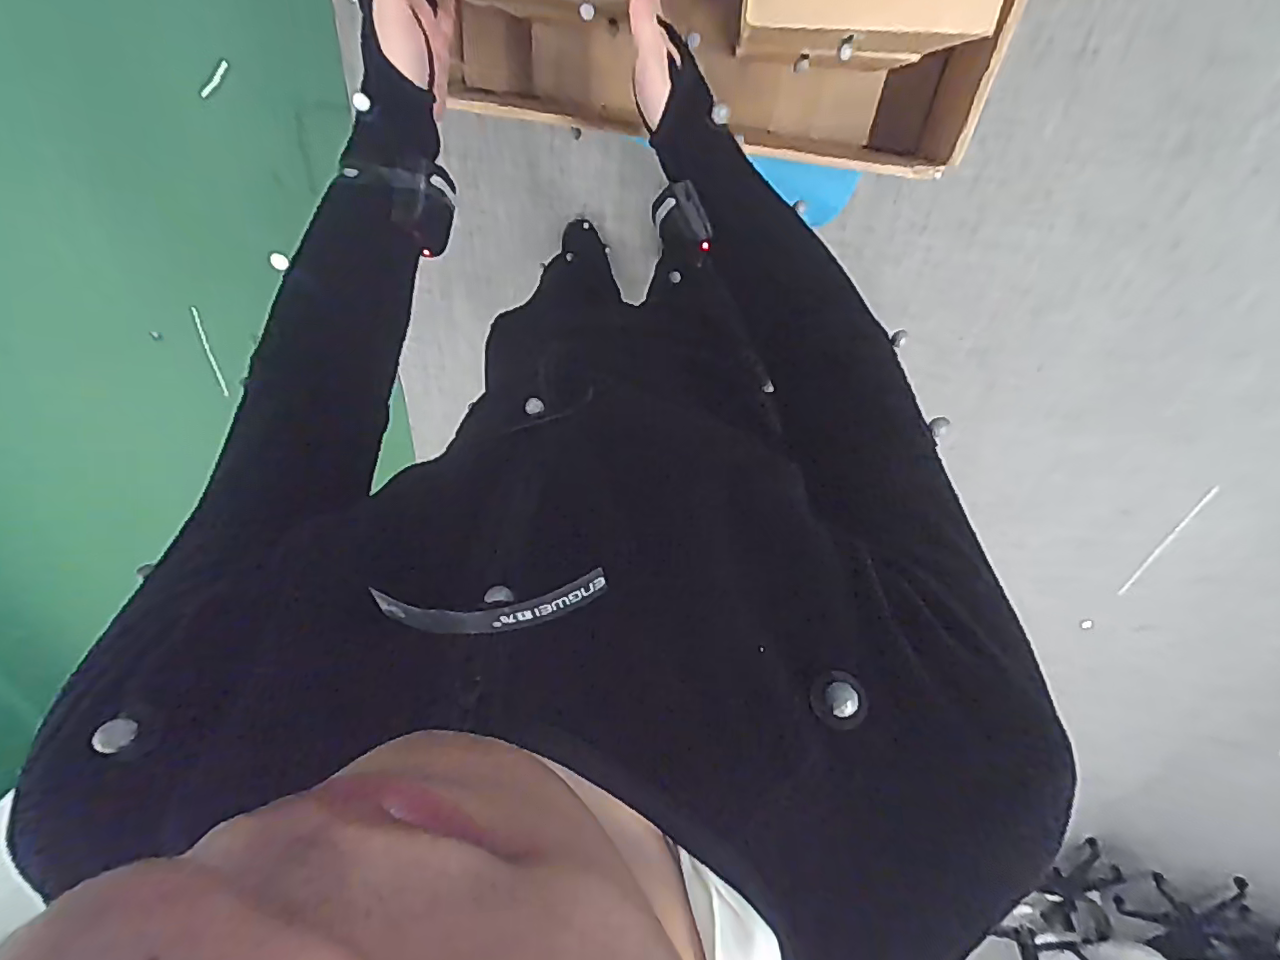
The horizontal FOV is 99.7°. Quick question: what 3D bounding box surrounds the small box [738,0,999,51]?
[{"bbox_3d":[0.172,-0.431,0.402,0.179,0.176,0.168,7,126,6],"label":"small box"}]
